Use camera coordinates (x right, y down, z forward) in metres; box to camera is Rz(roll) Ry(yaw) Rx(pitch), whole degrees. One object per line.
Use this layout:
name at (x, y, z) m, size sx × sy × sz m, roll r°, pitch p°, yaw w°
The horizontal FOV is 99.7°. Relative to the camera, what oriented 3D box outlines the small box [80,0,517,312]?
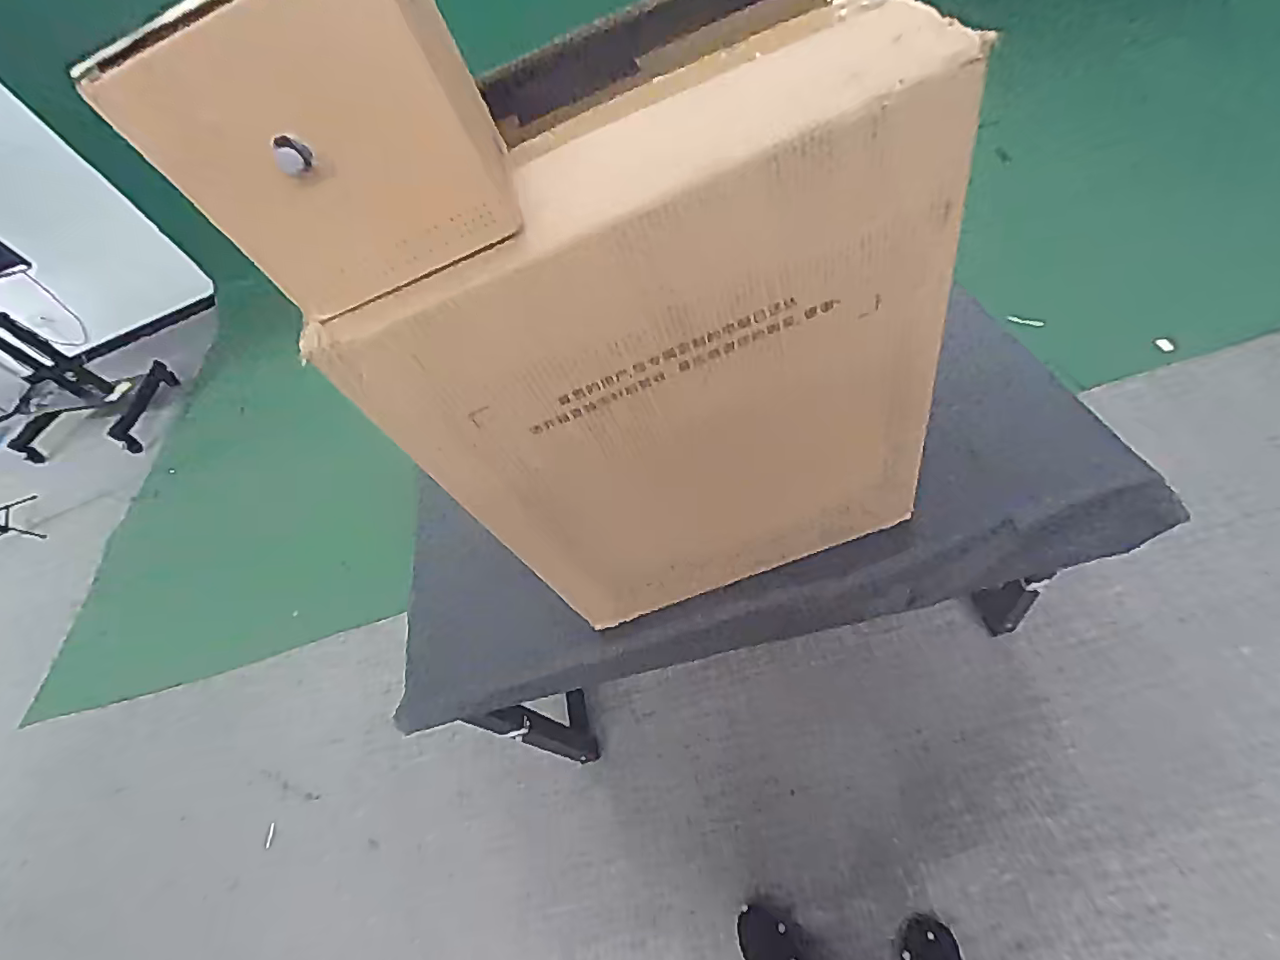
small box at (-0.210, -0.254, 0.386) m, size 0.179 × 0.176 × 0.168 m, roll -22°, pitch 53°, yaw 8°
